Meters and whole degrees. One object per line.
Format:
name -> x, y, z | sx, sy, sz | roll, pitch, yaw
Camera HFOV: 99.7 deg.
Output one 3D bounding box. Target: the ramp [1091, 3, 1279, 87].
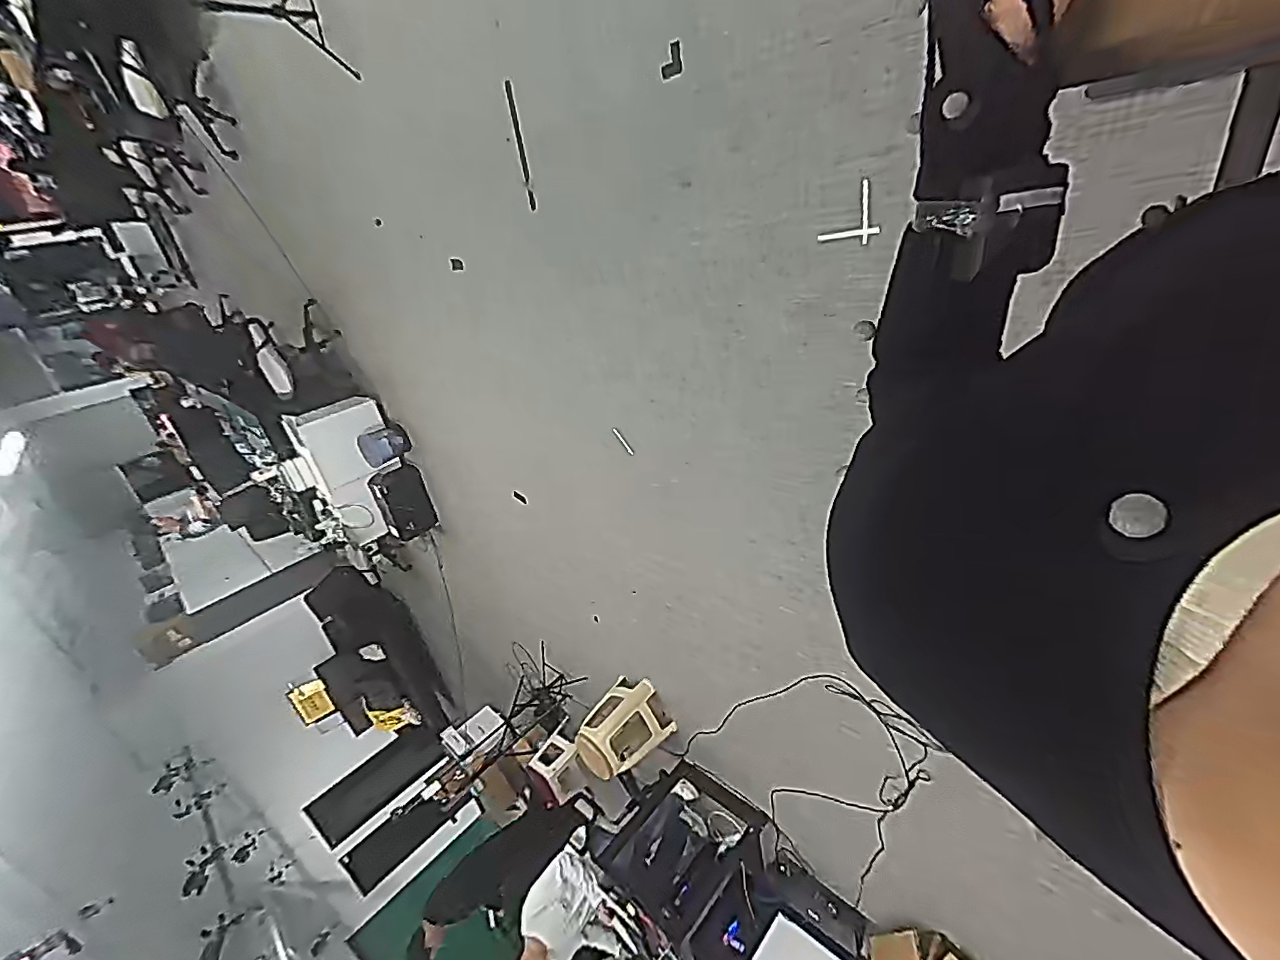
ramp -> 0.808, -1.020, 0.502 | 0.509, 0.206, 0.991 | 13, 126, 42
